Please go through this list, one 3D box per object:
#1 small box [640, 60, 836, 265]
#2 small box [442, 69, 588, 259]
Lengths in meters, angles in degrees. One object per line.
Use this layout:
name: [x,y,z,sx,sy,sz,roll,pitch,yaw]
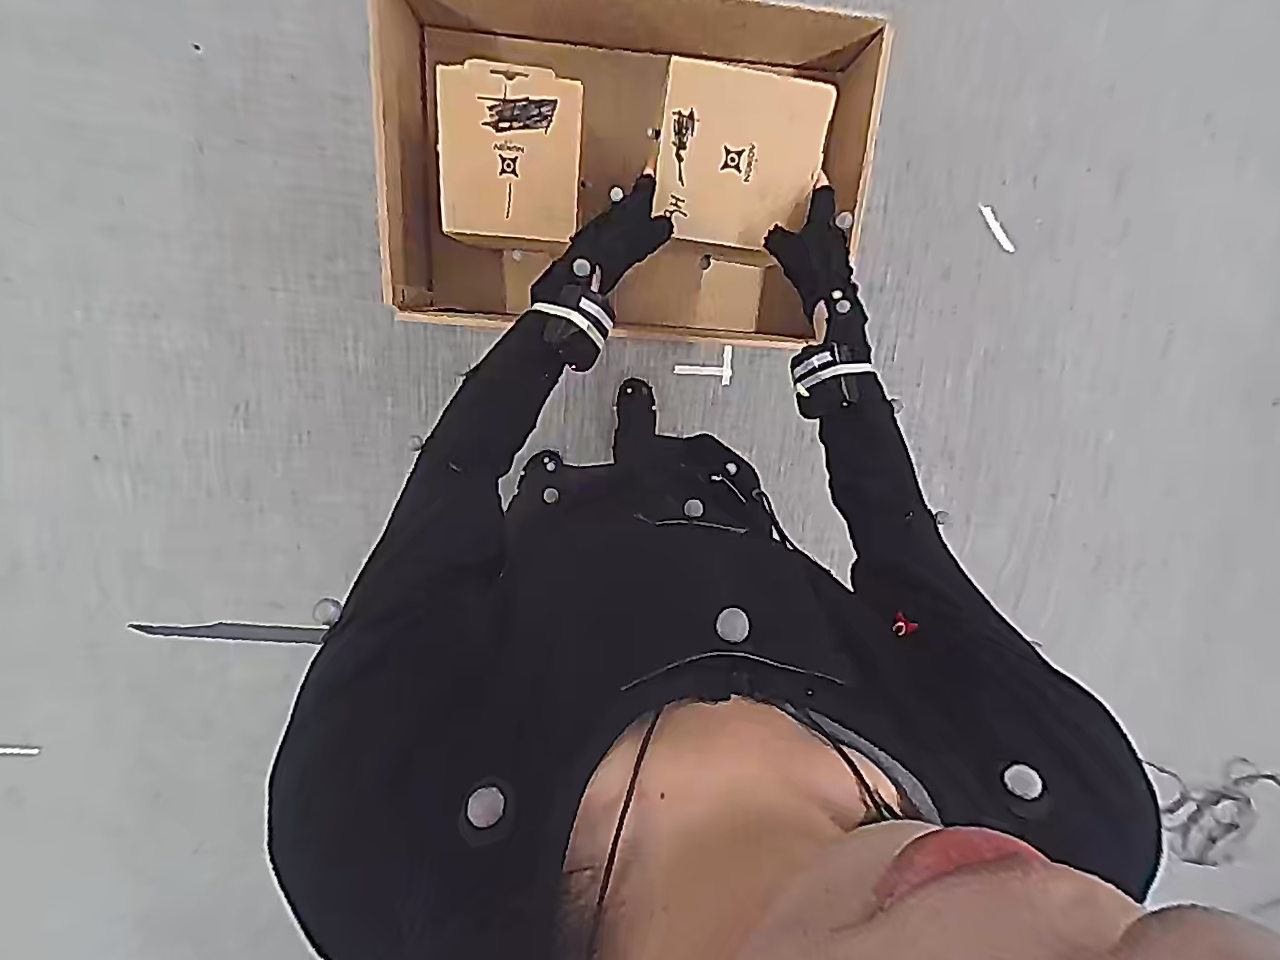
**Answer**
small box: [0.101,-0.359,0.649,0.179,0.176,0.168,6,107,-6]
small box: [-0.156,-0.401,0.718,0.168,0.176,0.179,3,107,-4]
